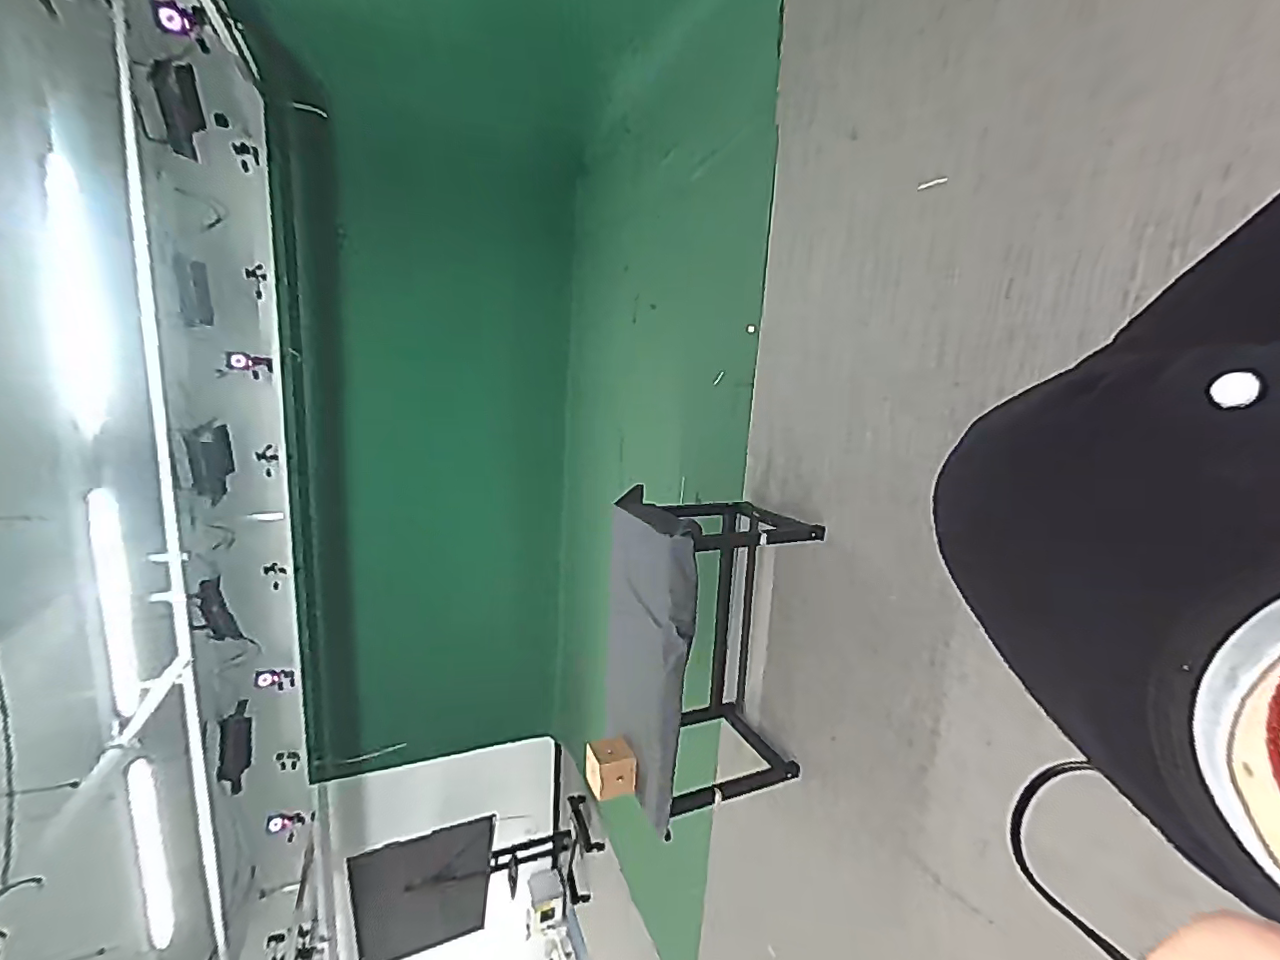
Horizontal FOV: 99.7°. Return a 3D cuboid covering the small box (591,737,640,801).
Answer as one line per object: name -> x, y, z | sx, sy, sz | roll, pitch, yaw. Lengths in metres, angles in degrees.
small box -> -0.109, 1.262, 2.378 | 0.179, 0.176, 0.168 | -166, 77, -65
